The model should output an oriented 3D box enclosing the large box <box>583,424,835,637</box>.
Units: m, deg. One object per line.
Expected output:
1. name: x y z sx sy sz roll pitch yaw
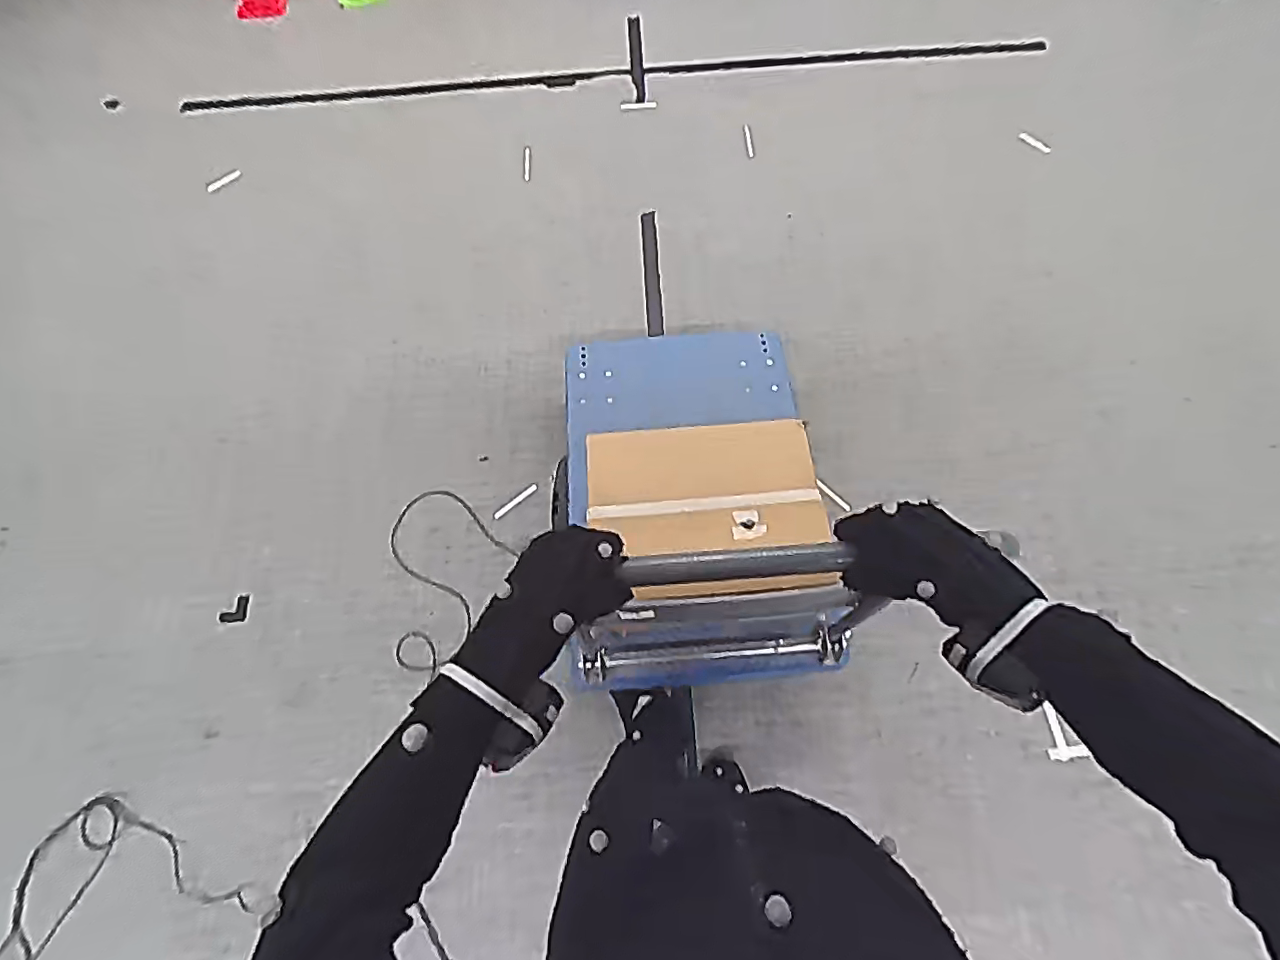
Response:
1. large box: 0.107 0.113 1.065 0.408 0.320 0.320 -5 66 -2
